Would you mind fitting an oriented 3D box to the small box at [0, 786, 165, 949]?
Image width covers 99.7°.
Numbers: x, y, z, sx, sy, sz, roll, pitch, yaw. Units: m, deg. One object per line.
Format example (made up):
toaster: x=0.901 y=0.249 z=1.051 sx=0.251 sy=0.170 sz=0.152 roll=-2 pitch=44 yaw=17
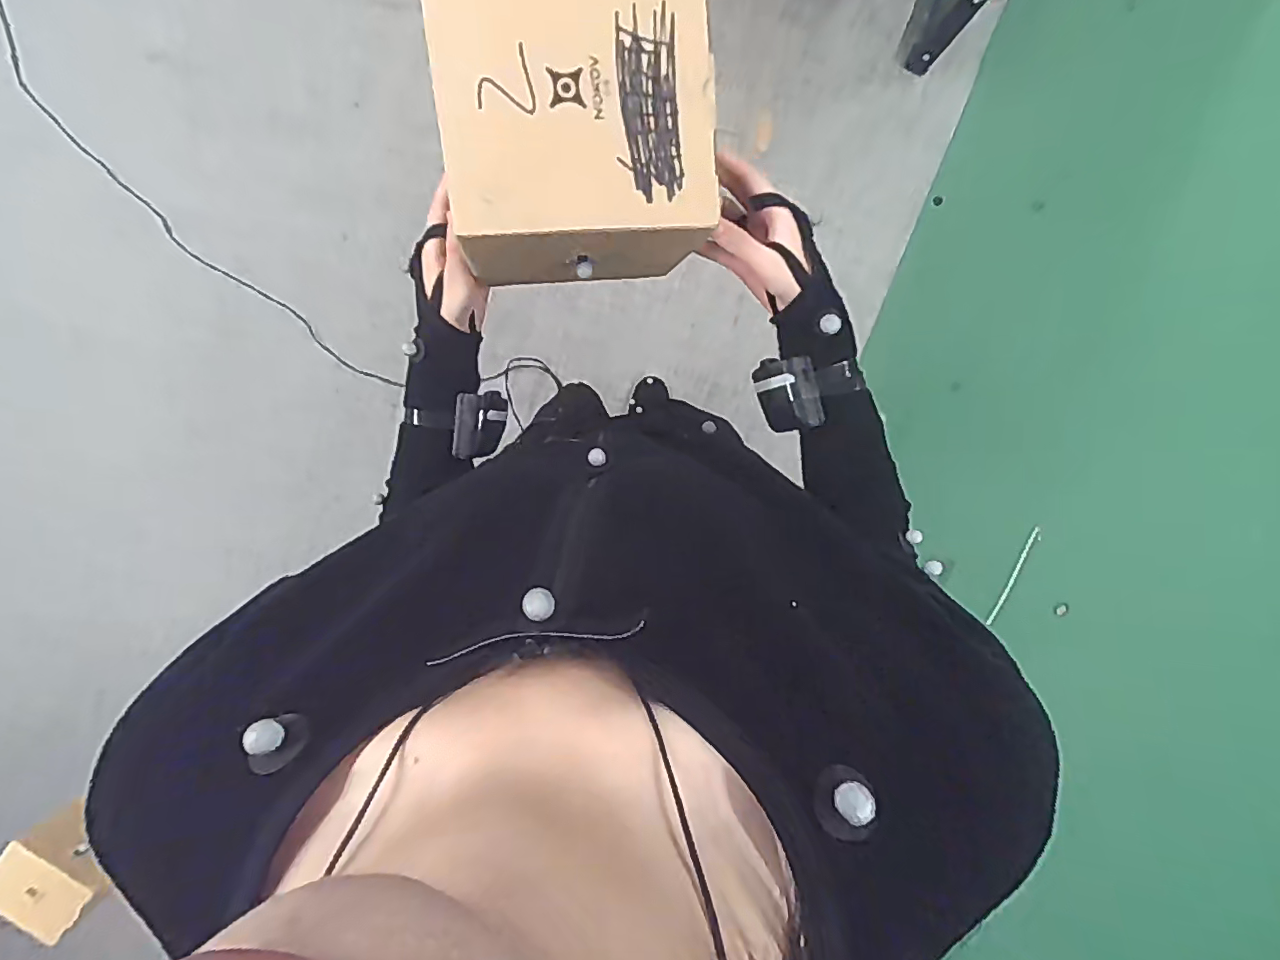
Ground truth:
small box: x=-1.118 y=0.749 z=1.070 sx=0.179 sy=0.176 sz=0.168 roll=40 pitch=98 yaw=-6
